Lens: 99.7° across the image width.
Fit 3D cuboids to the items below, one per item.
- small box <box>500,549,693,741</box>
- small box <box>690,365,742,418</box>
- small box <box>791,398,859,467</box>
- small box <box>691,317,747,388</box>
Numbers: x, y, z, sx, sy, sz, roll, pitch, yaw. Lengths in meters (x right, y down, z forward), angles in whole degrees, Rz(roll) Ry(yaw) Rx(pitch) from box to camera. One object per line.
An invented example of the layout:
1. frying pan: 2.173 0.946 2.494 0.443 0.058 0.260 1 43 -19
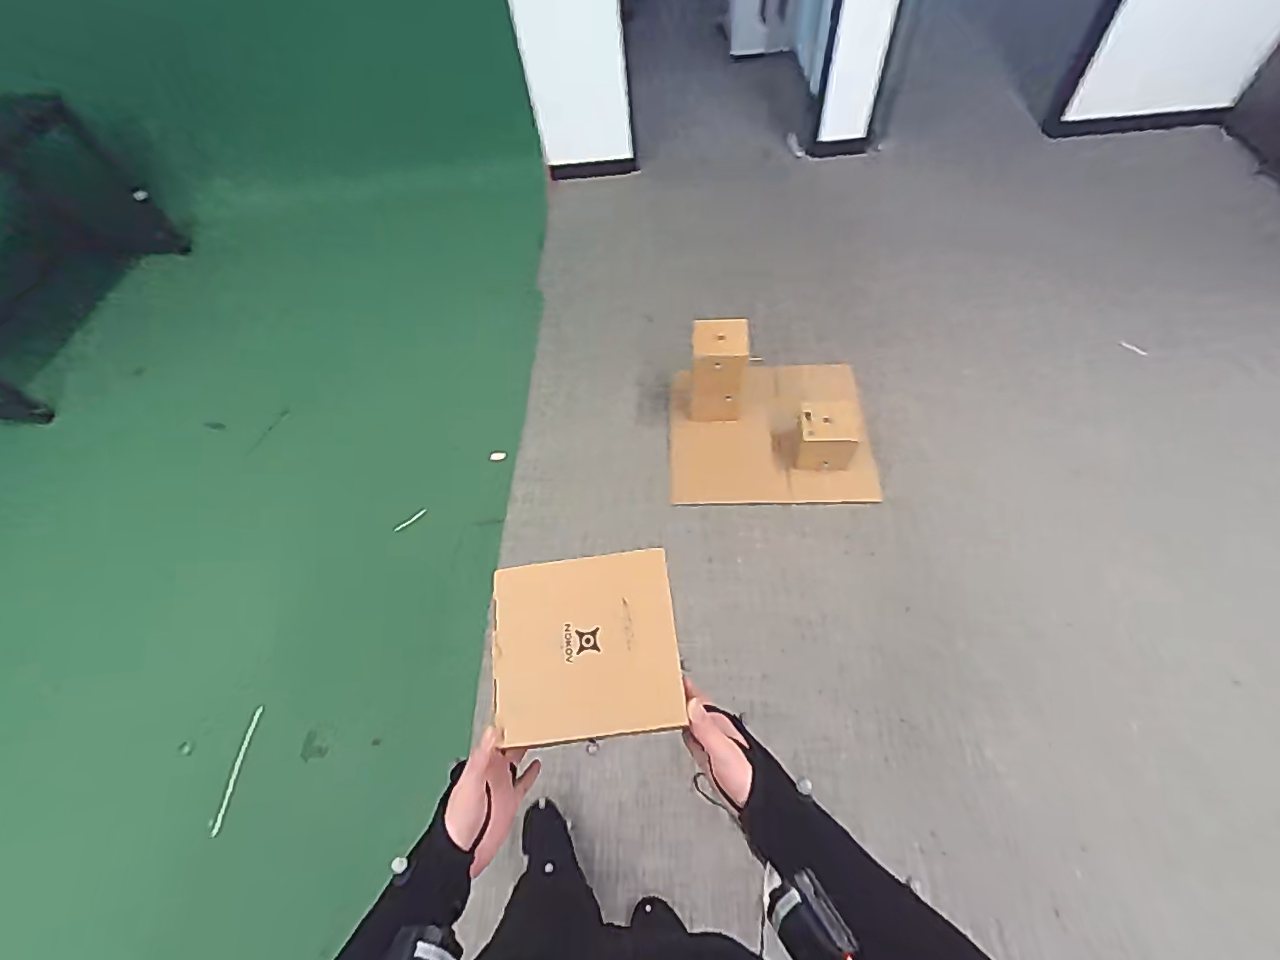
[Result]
1. small box: -0.038 0.185 0.581 0.179 0.176 0.168 -6 65 2
2. small box: 0.268 -0.336 1.942 0.179 0.176 0.168 0 58 6
3. small box: 0.610 -0.153 1.798 0.179 0.176 0.168 1 58 7
4. small box: 0.261 -0.421 1.804 0.179 0.176 0.168 0 59 6
